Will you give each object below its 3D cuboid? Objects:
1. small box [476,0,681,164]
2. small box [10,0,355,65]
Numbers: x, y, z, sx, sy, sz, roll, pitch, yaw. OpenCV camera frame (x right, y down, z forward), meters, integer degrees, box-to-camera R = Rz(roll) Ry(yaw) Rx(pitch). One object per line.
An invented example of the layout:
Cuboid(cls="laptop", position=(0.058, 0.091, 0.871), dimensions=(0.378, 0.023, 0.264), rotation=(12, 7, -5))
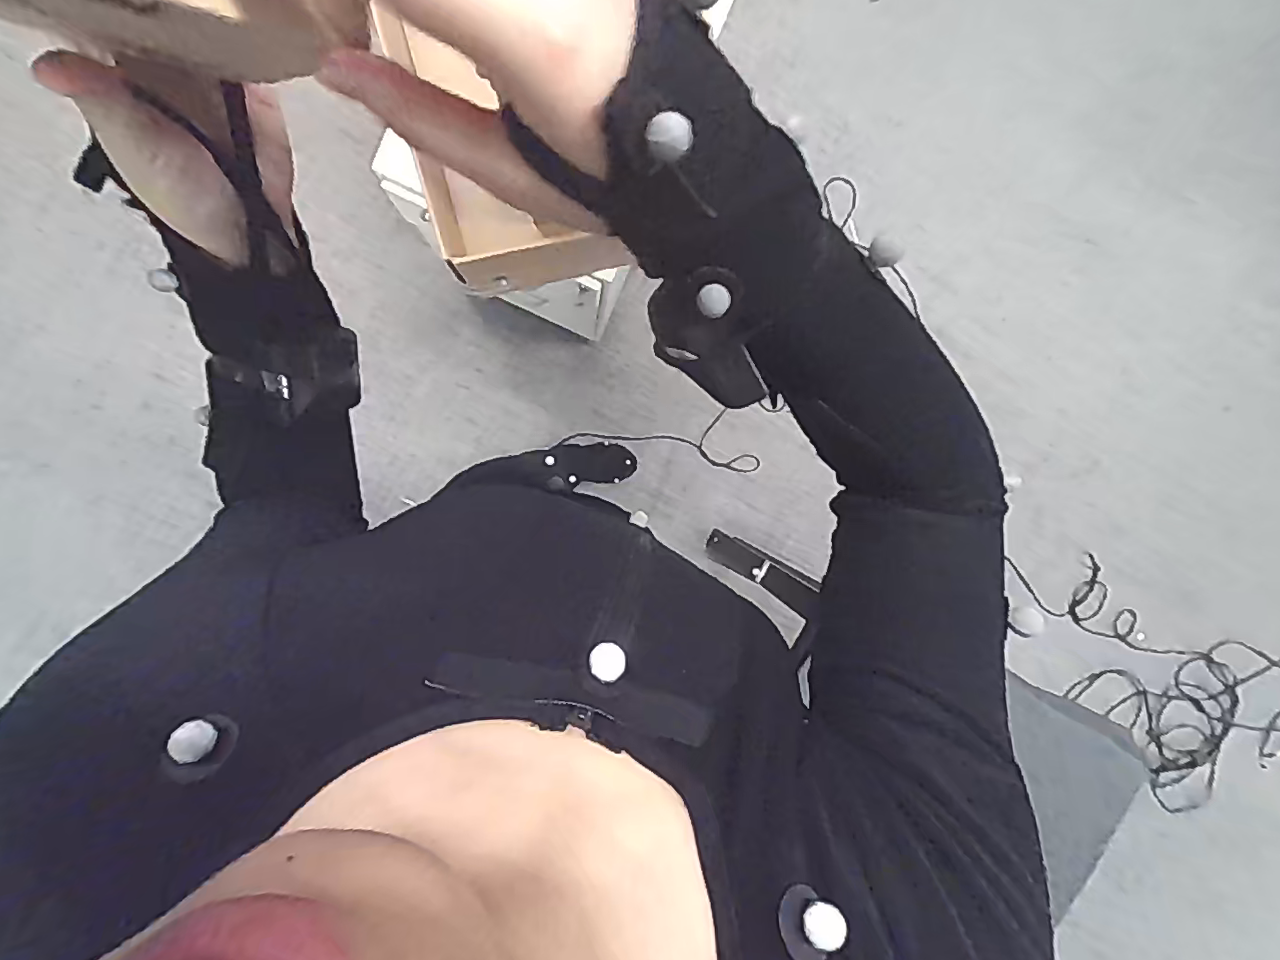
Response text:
Cuboid(cls="small box", position=(-0.070, -0.461, 0.558), dimensions=(0.179, 0.176, 0.168), rotation=(-13, 94, -3))
Cuboid(cls="small box", position=(-0.189, -0.233, 0.134), dimensions=(0.168, 0.179, 0.176), rotation=(-15, 126, -40))
